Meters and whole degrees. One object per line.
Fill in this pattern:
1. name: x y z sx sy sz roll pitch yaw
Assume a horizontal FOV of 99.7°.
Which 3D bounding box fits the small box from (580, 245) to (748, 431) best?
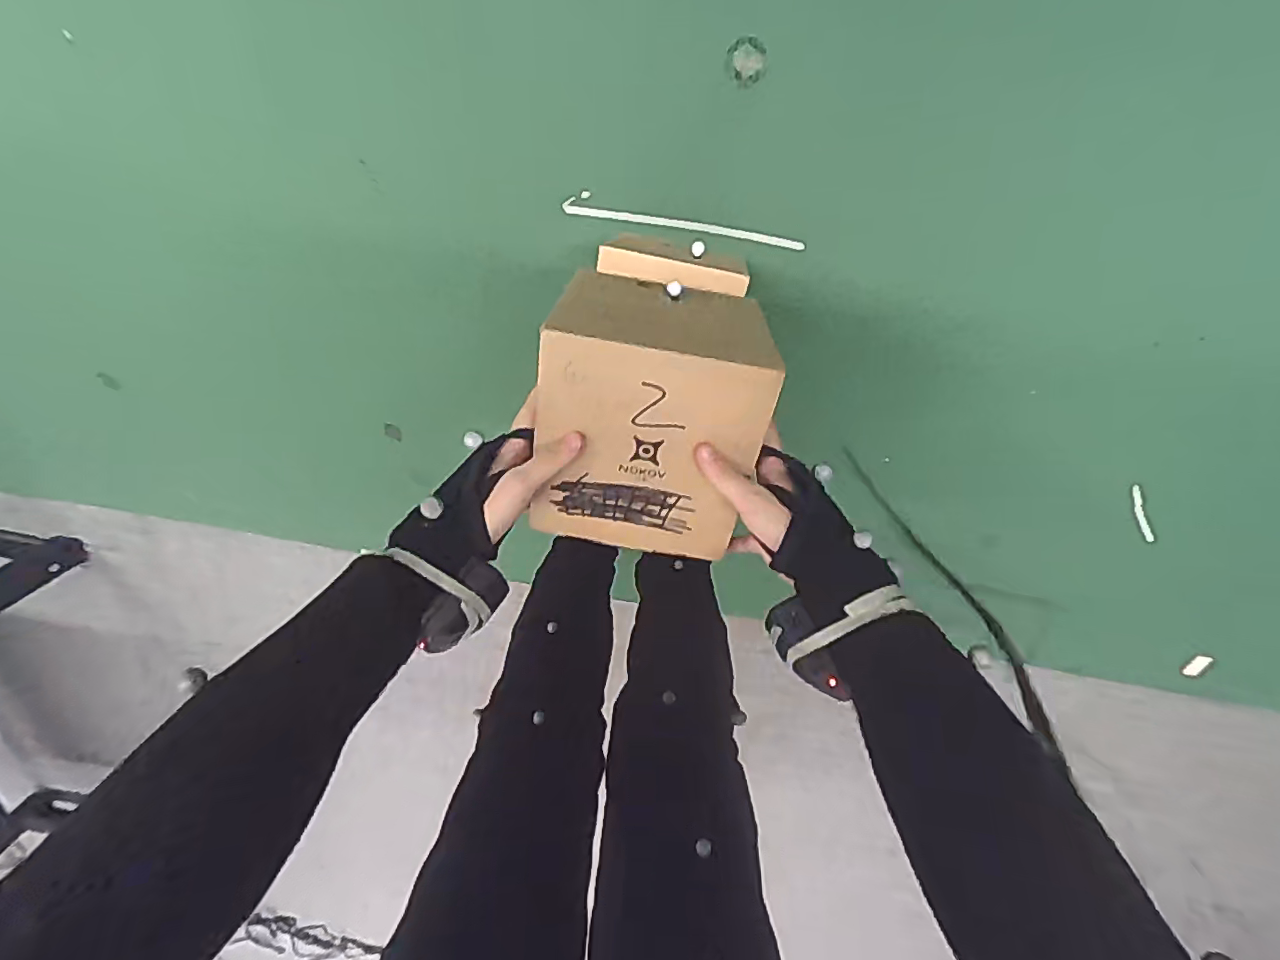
1. small box: 0.028 -0.188 0.689 0.168 0.176 0.179 12 121 0
